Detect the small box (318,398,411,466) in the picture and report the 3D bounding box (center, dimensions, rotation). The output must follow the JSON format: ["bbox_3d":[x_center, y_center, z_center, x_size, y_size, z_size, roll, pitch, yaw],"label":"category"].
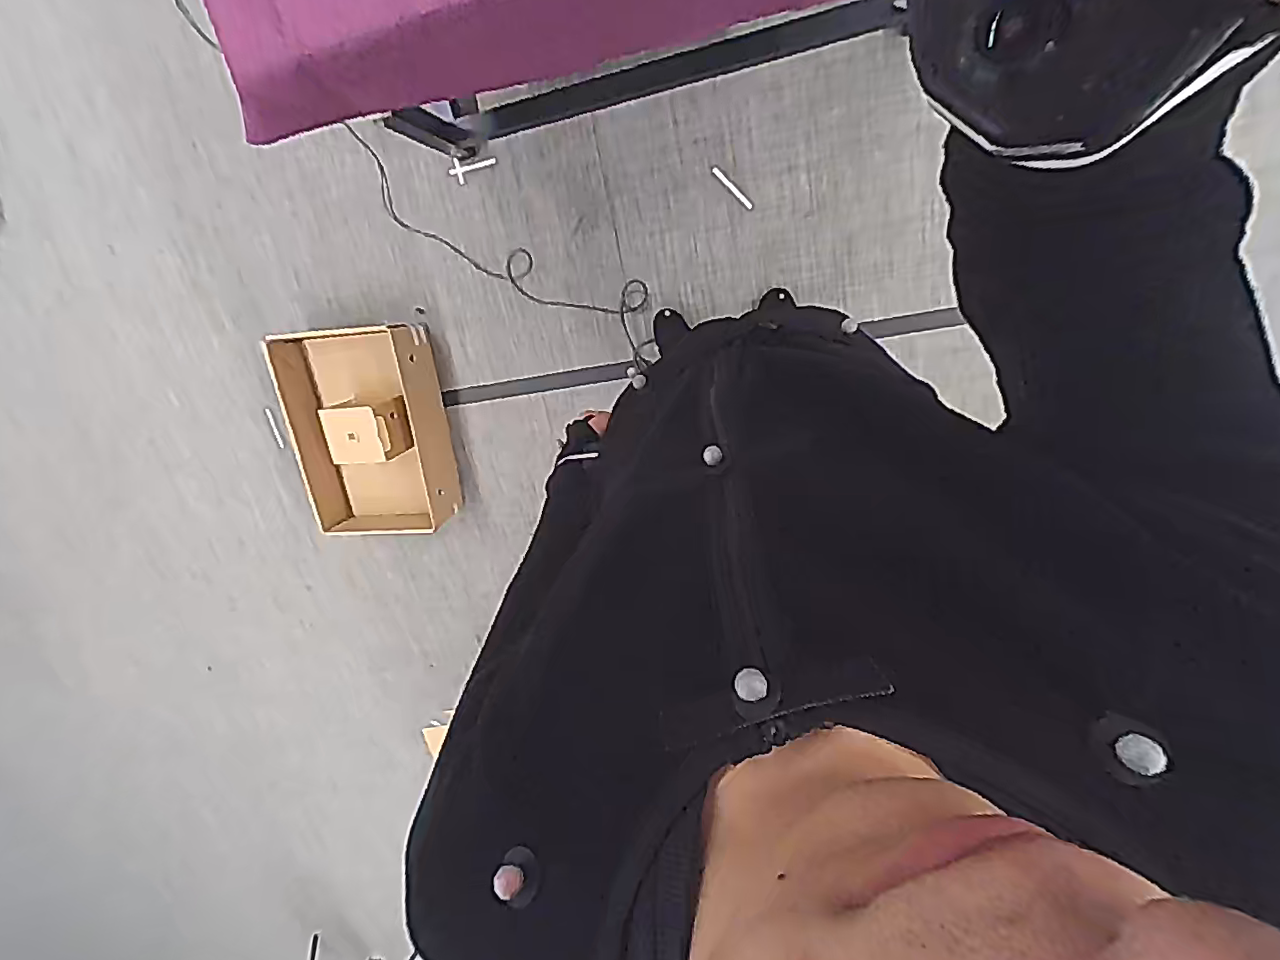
[{"bbox_3d":[-0.811,-0.147,1.619,0.179,0.176,0.168,-2,109,9],"label":"small box"}]
